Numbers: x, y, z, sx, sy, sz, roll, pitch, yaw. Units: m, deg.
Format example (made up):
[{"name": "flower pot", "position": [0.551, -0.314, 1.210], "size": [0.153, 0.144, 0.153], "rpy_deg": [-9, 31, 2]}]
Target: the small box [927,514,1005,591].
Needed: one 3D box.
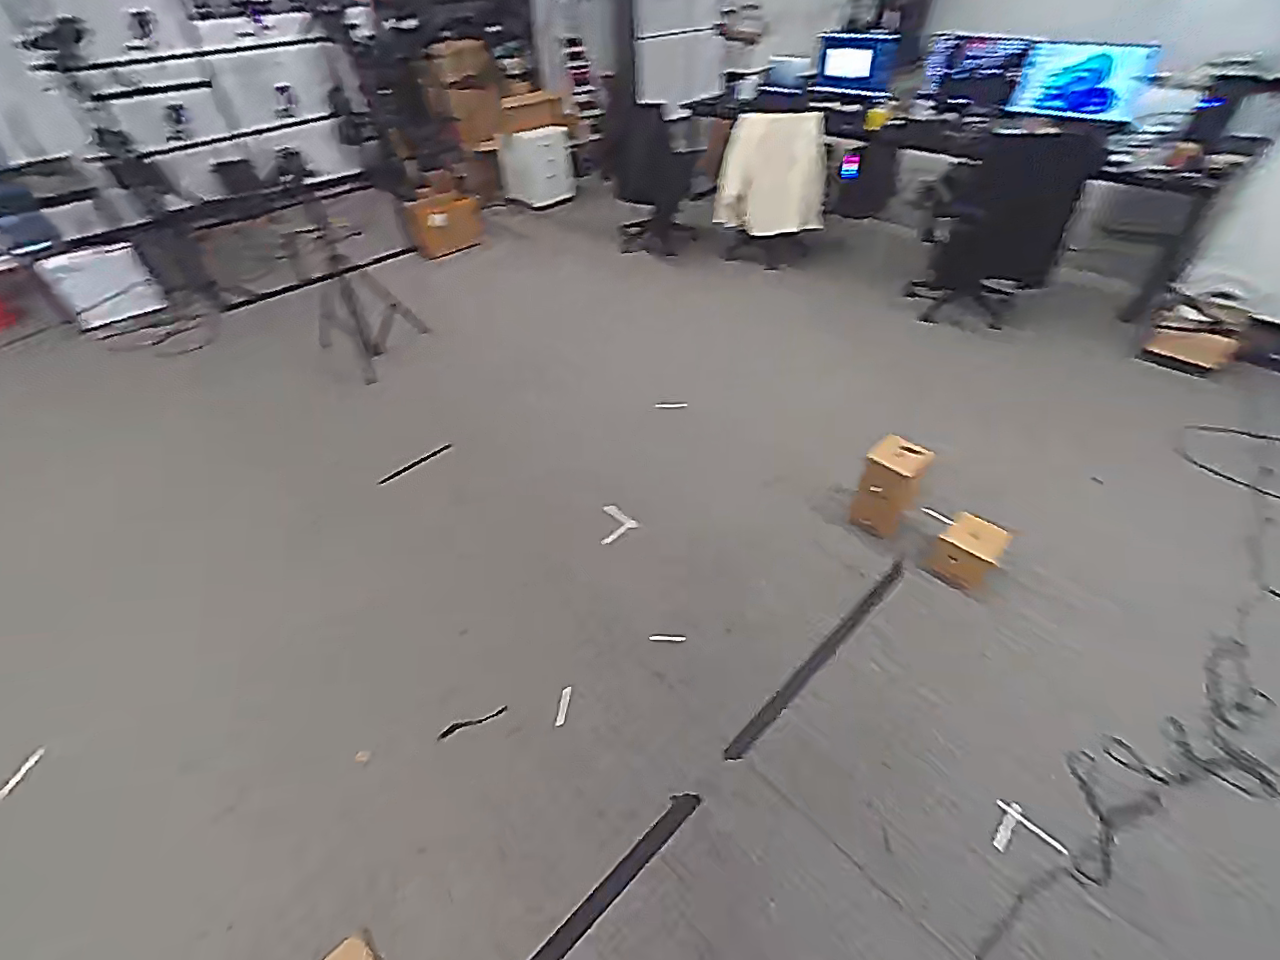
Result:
[{"name": "small box", "position": [1.158, 0.262, 1.933], "size": [0.168, 0.176, 0.179], "rpy_deg": [33, 53, 32]}]

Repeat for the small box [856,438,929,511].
[{"name": "small box", "position": [0.927, -0.019, 2.001], "size": [0.179, 0.176, 0.168], "rpy_deg": [-33, 51, -27]}]
